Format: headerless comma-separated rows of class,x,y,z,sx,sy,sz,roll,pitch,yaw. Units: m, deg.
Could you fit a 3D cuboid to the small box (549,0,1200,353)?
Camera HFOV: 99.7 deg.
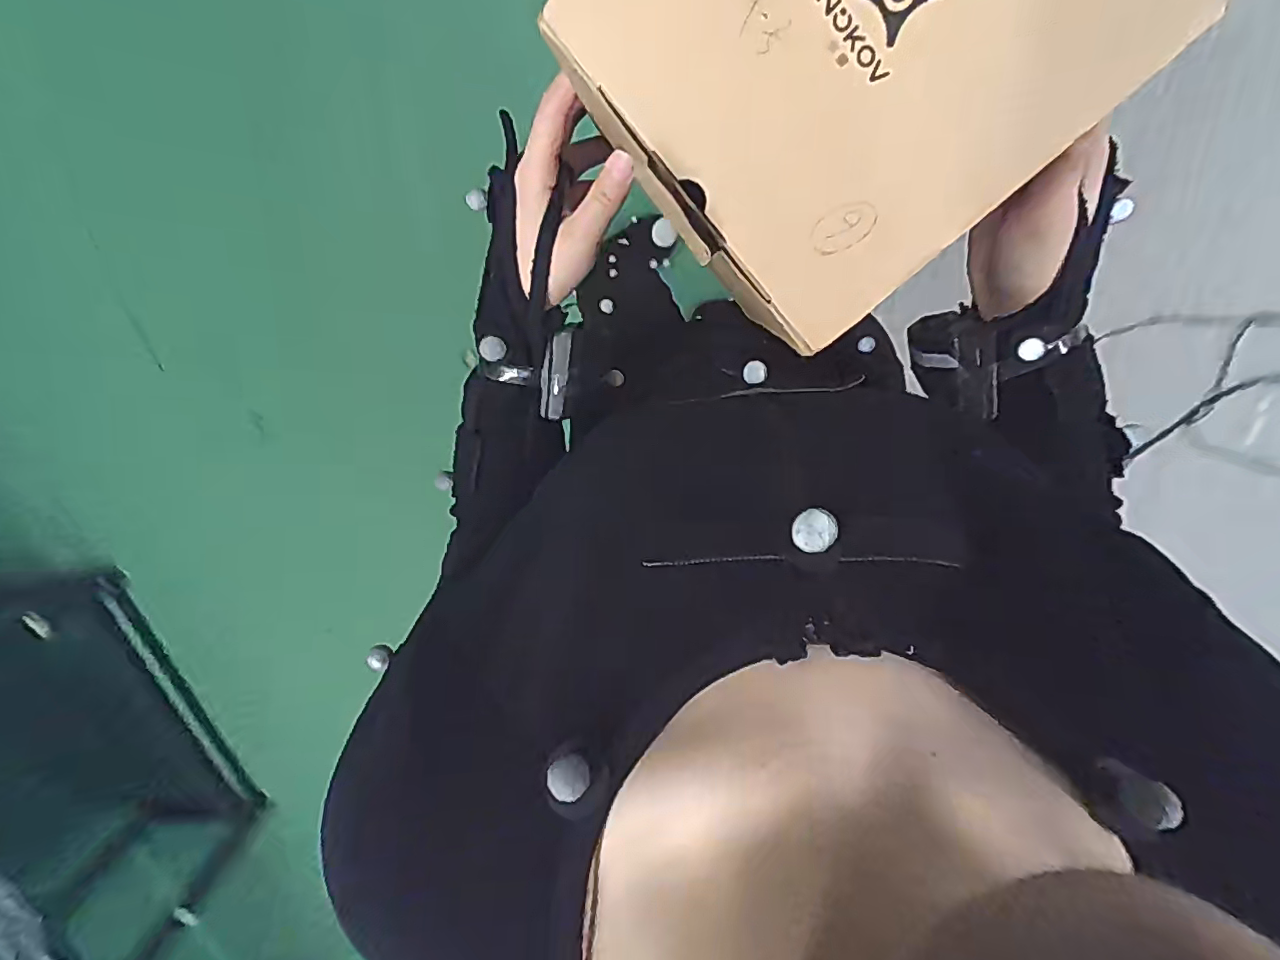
small box,0.087,-0.194,0.271,0.179,0.176,0.168,-40,105,19
